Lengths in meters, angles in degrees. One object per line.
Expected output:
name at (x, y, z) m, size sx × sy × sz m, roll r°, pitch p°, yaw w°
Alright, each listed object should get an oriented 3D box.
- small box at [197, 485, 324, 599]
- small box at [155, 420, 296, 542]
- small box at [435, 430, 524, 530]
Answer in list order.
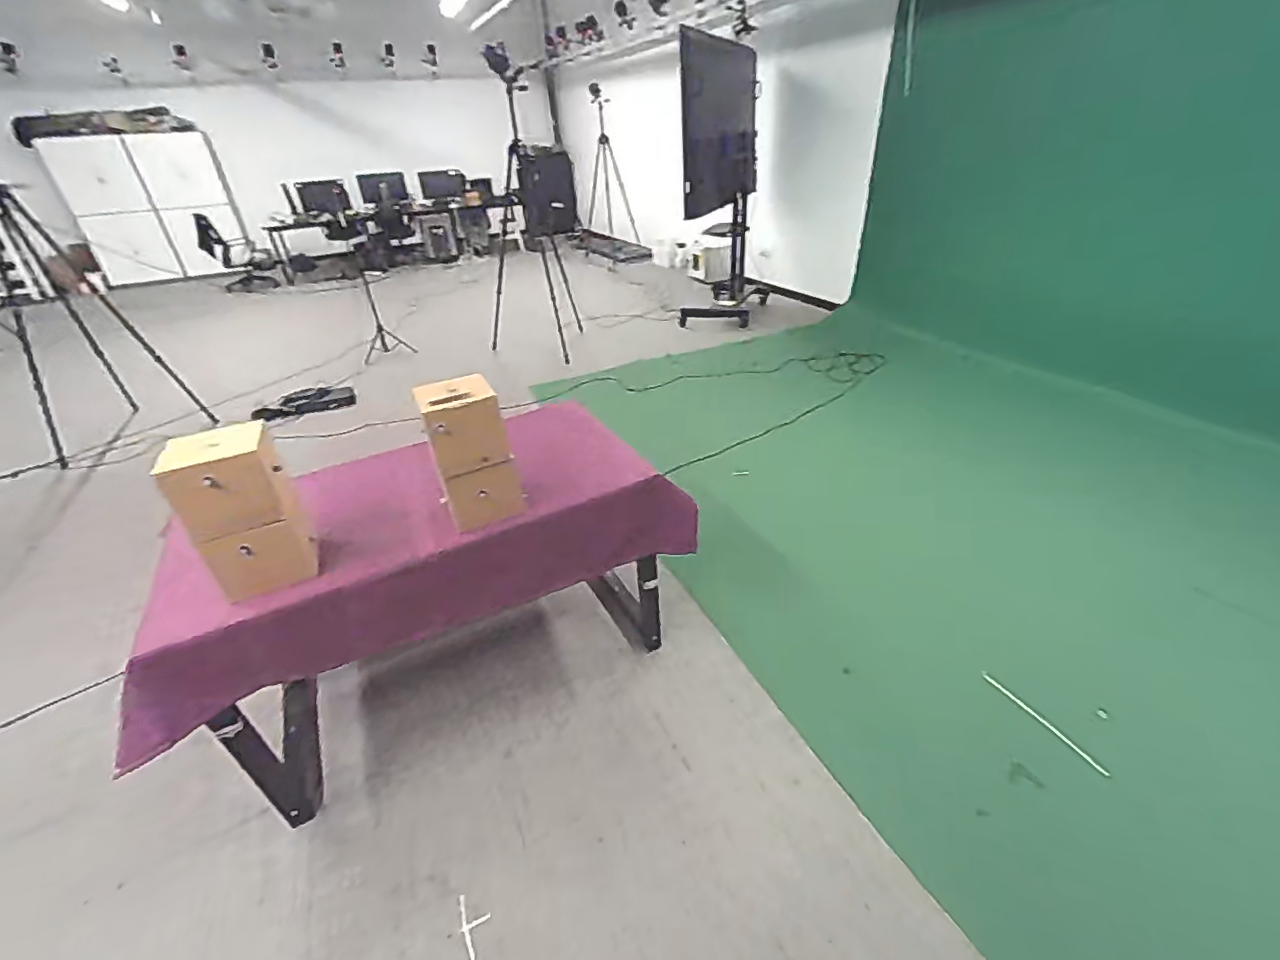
small box at (-0.840, 0.139, 1.215) m, size 0.179 × 0.176 × 0.168 m, roll -17°, pitch 35°, yaw -20°
small box at (-0.846, 0.000, 1.129) m, size 0.179 × 0.176 × 0.168 m, roll -19°, pitch 35°, yaw -19°
small box at (-0.404, 0.000, 1.379) m, size 0.179 × 0.176 × 0.168 m, roll -19°, pitch 35°, yaw -19°
